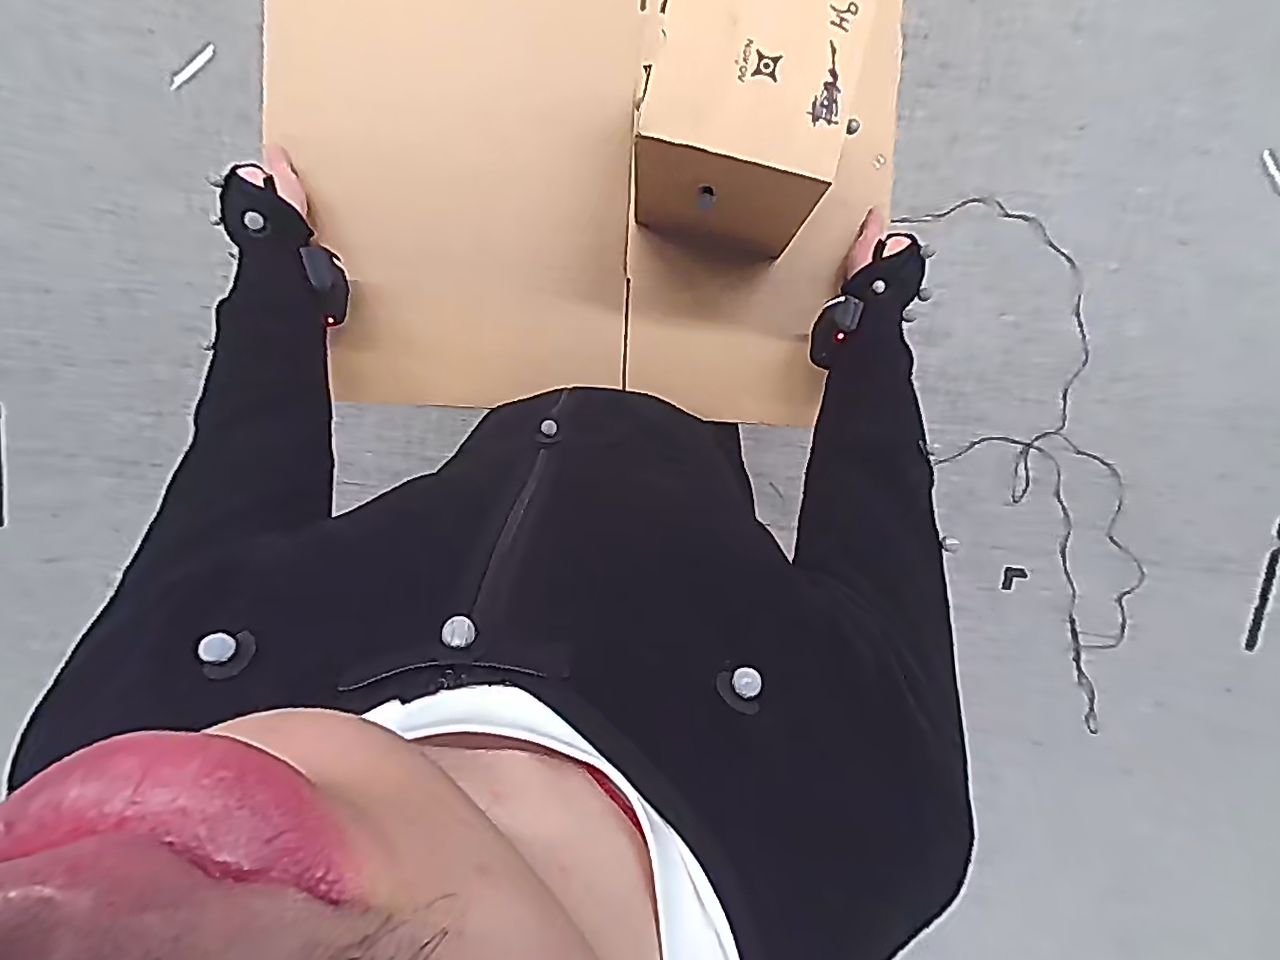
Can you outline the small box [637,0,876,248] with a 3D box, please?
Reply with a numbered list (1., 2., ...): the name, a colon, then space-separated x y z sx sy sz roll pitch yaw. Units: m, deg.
1. small box: 0.100 -0.357 0.543 0.179 0.176 0.168 13 92 0
